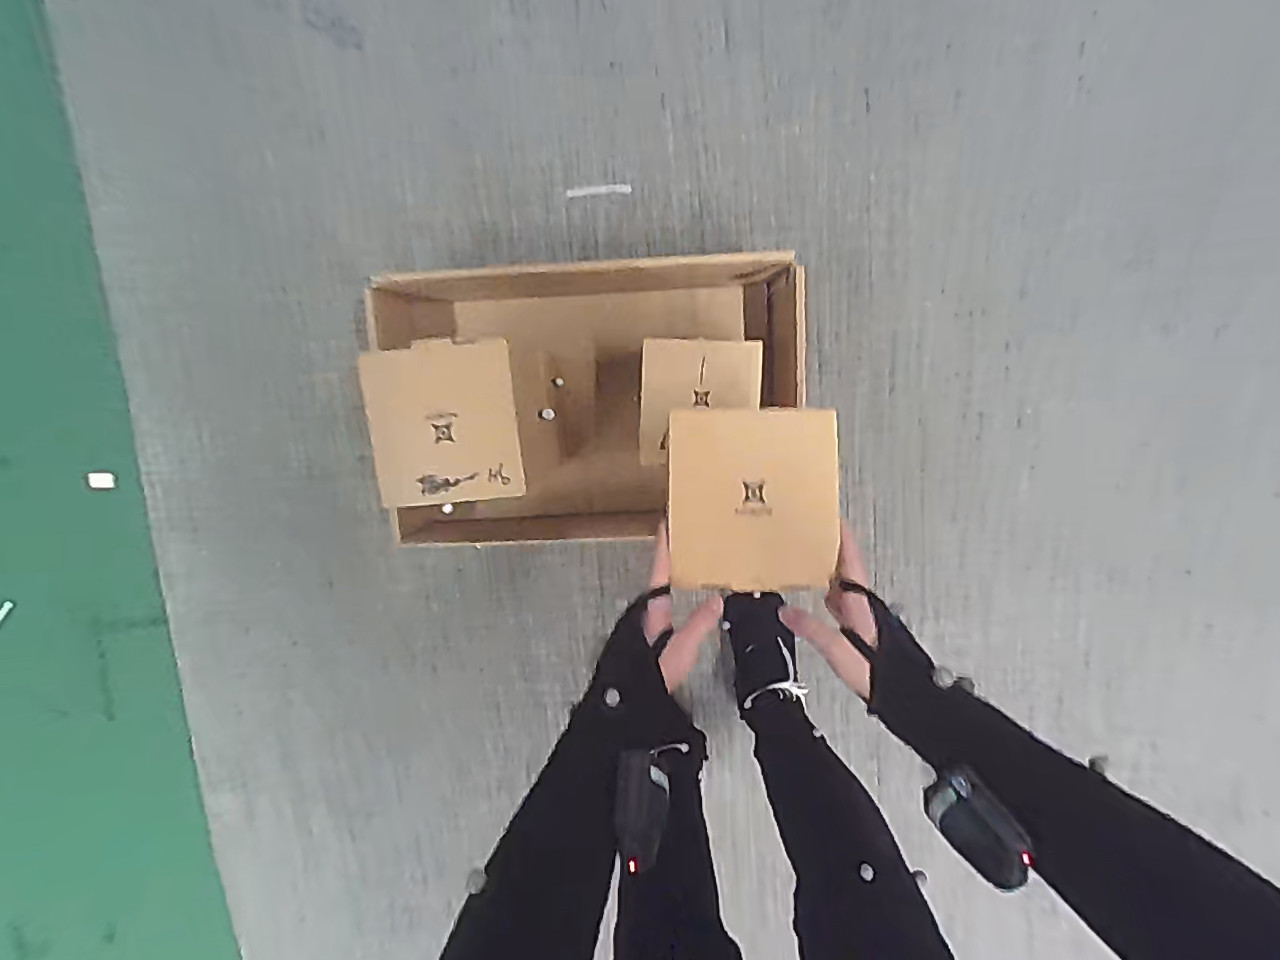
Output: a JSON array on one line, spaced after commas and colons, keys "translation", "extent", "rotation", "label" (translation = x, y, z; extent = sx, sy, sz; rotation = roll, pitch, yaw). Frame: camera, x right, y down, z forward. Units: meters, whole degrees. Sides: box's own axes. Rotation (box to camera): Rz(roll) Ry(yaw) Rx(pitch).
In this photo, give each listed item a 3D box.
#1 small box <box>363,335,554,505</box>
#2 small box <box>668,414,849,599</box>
[{"translation": [-0.208, -0.072, 0.665], "extent": [0.168, 0.176, 0.179], "rotation": [-4, 97, 3], "label": "small box"}, {"translation": [0.115, 0.033, 0.591], "extent": [0.168, 0.176, 0.179], "rotation": [0, 84, 2], "label": "small box"}]
